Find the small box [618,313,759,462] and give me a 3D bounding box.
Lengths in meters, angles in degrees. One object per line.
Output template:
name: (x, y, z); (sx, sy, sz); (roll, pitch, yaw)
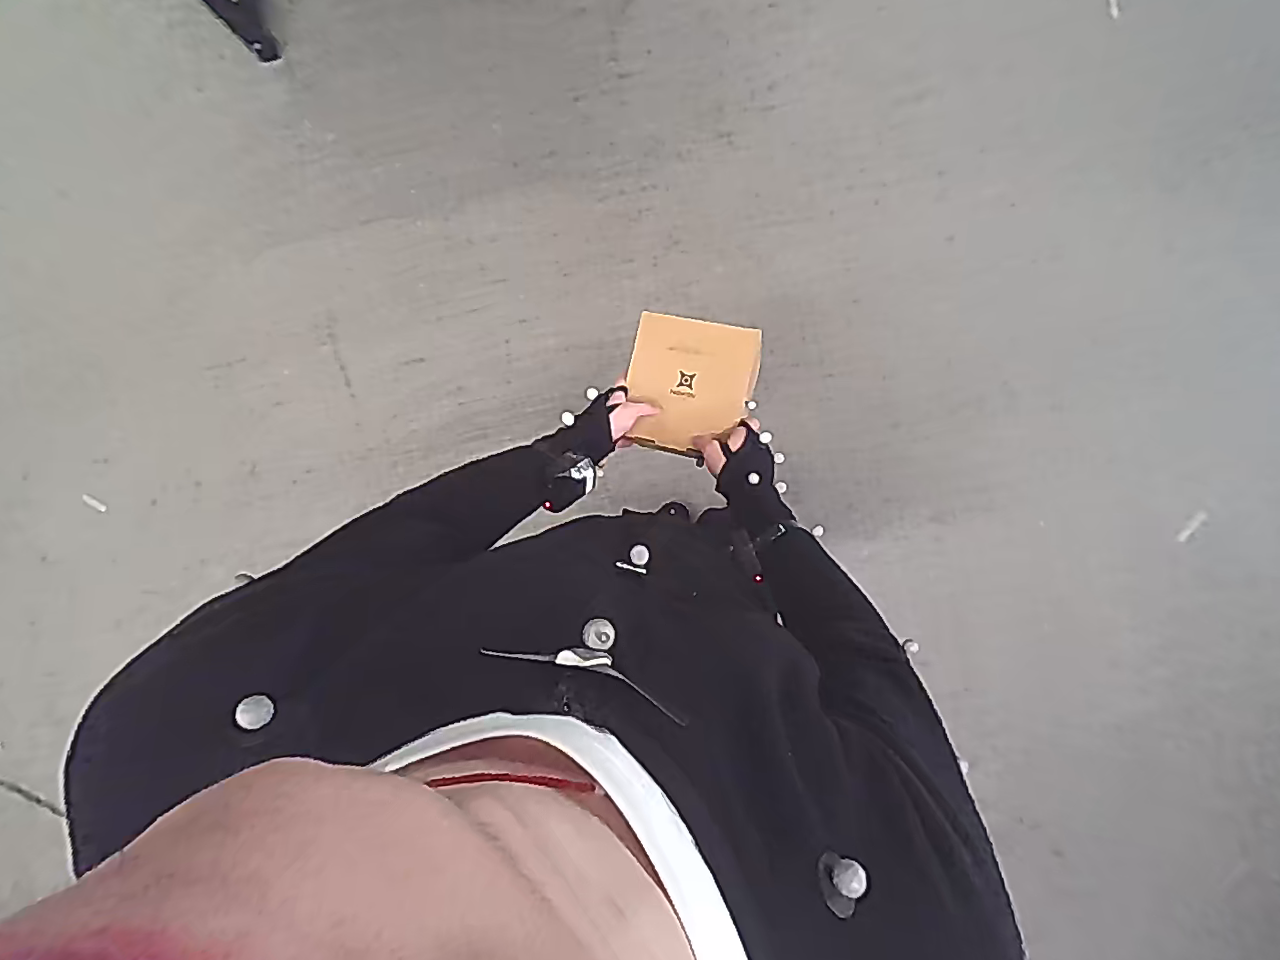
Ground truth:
small box: (0.078, -0.127, 0.809); (0.168, 0.176, 0.179); (11, 90, 10)
